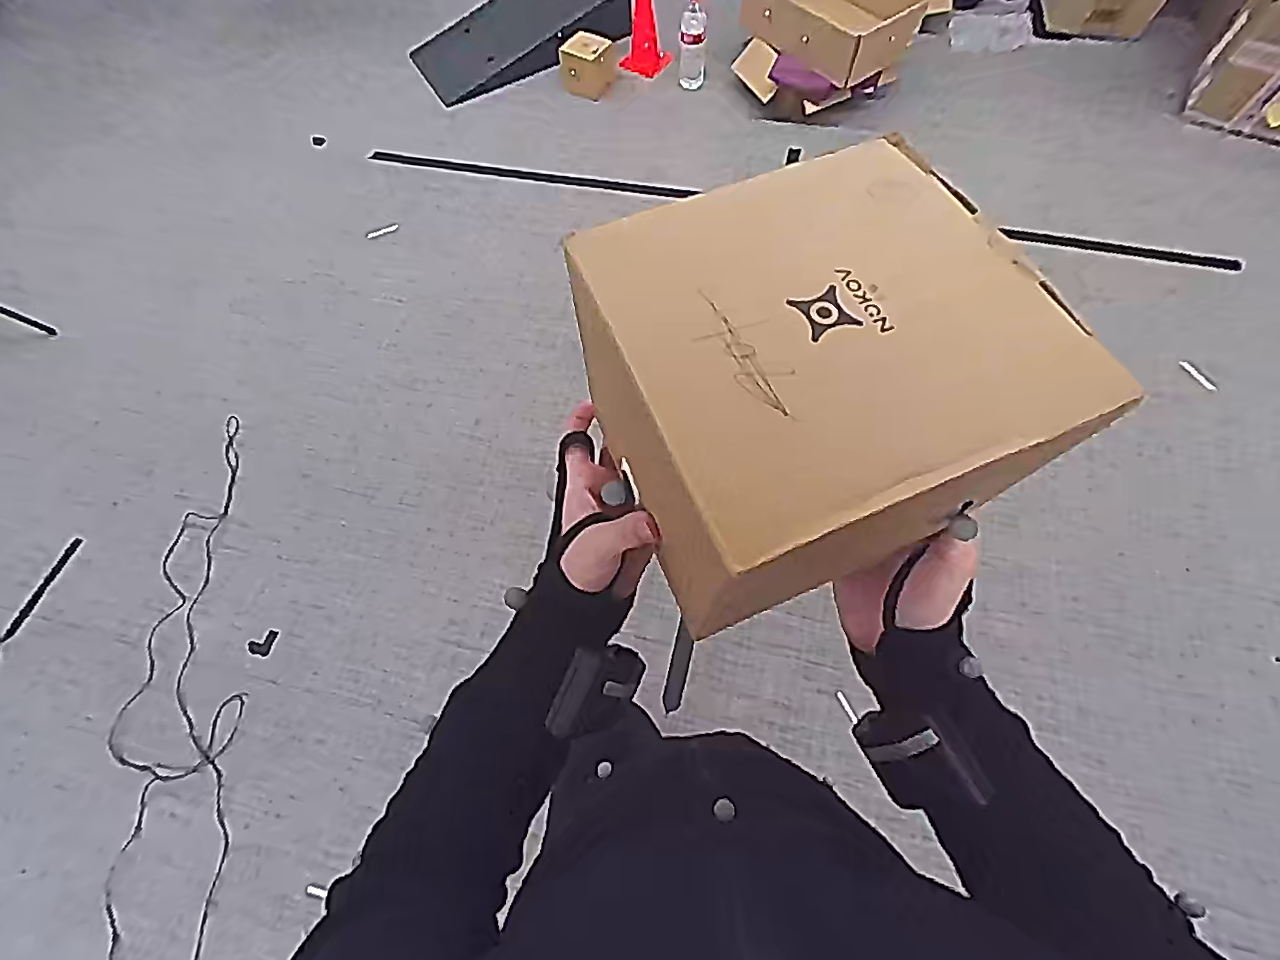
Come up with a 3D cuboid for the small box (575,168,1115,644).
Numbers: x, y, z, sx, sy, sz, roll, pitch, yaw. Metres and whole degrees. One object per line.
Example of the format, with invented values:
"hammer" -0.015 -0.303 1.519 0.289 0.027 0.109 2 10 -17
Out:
"small box" 0.080 -0.026 0.303 0.179 0.176 0.168 -22 66 -8
